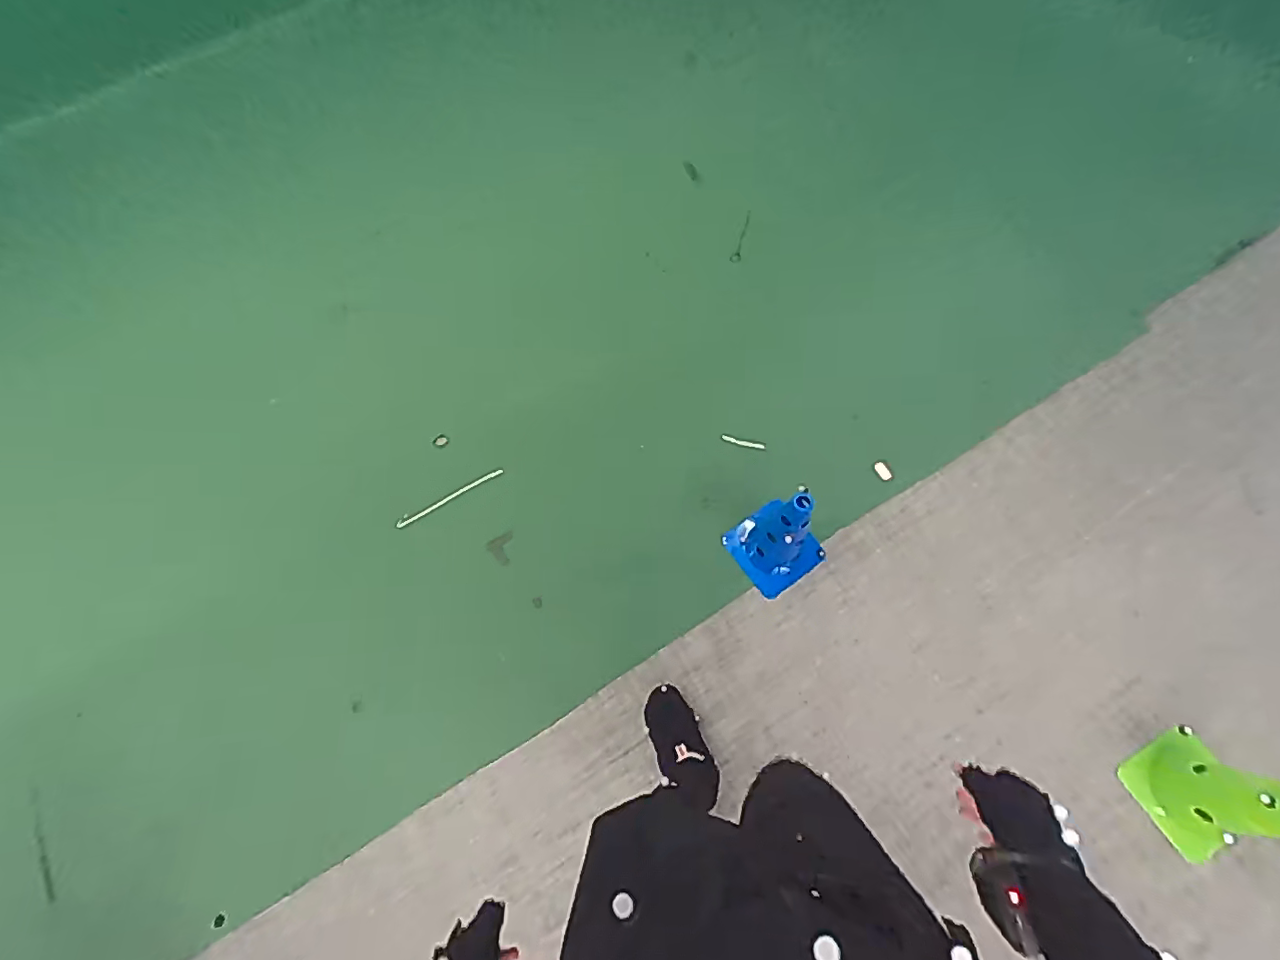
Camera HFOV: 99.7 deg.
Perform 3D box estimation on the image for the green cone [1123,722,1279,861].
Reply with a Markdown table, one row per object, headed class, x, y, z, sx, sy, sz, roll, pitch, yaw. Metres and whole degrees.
| class | x | y | z | sx | sy | sz | roll | pitch | yaw |
| --- | --- | --- | --- | --- | --- | --- | --- | --- | --- |
| green cone | 1.134 | 0.581 | 0.964 | 0.200 | 0.368 | 0.202 | -32 | 71 | -8 |
